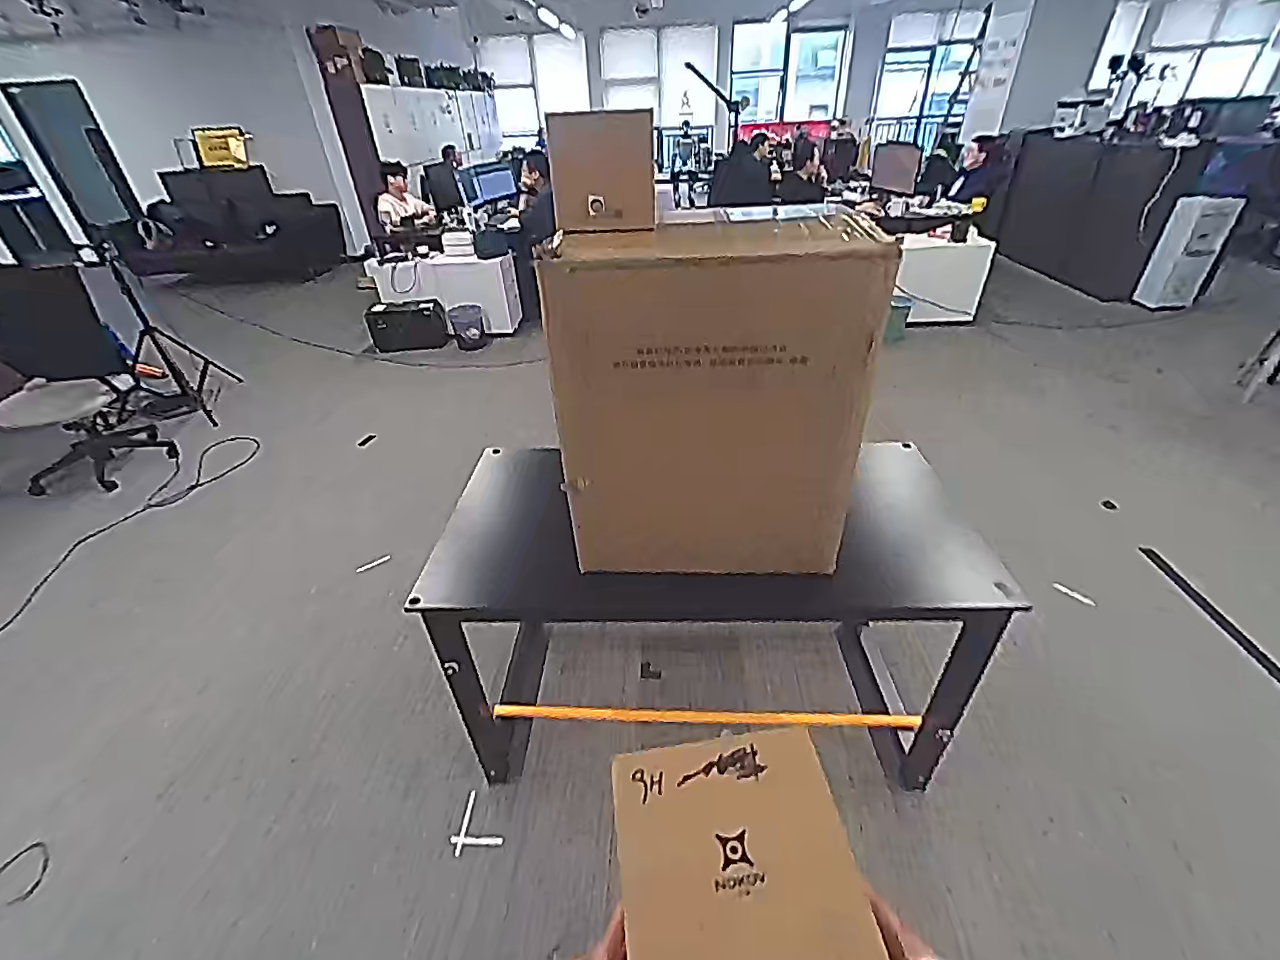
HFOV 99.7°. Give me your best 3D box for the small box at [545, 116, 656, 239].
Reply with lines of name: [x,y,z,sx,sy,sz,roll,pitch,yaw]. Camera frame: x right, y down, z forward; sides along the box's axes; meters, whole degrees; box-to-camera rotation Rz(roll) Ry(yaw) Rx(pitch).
small box: [-0.059,-0.513,0.919,0.168,0.176,0.179,-3,34,1]
